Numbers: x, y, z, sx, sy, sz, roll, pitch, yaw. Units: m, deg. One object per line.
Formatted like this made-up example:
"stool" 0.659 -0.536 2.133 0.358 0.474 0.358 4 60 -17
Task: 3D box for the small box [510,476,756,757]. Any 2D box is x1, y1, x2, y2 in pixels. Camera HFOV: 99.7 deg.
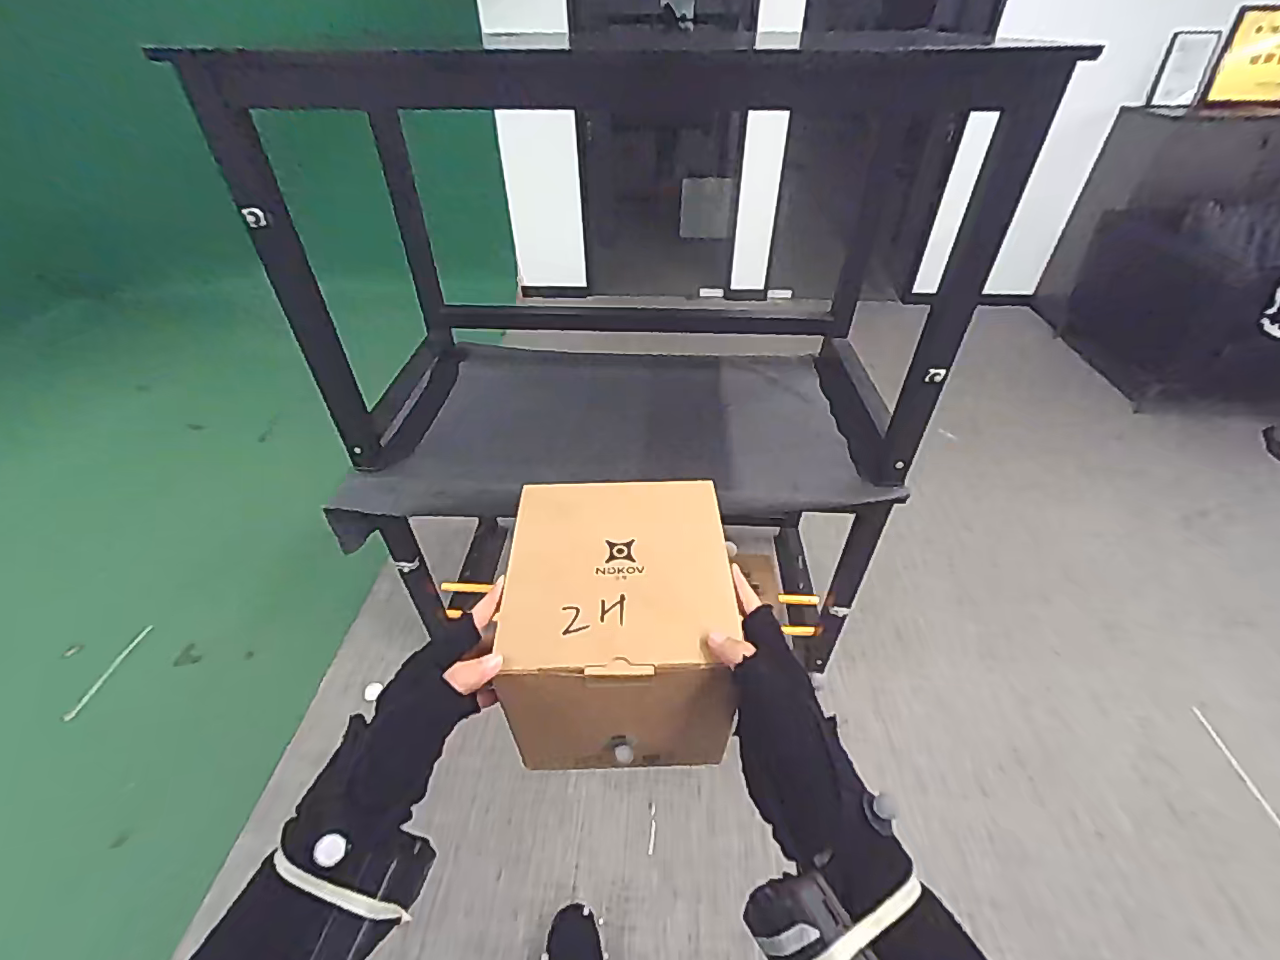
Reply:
"small box" -0.006 0.115 0.468 0.168 0.176 0.179 -1 41 -1
